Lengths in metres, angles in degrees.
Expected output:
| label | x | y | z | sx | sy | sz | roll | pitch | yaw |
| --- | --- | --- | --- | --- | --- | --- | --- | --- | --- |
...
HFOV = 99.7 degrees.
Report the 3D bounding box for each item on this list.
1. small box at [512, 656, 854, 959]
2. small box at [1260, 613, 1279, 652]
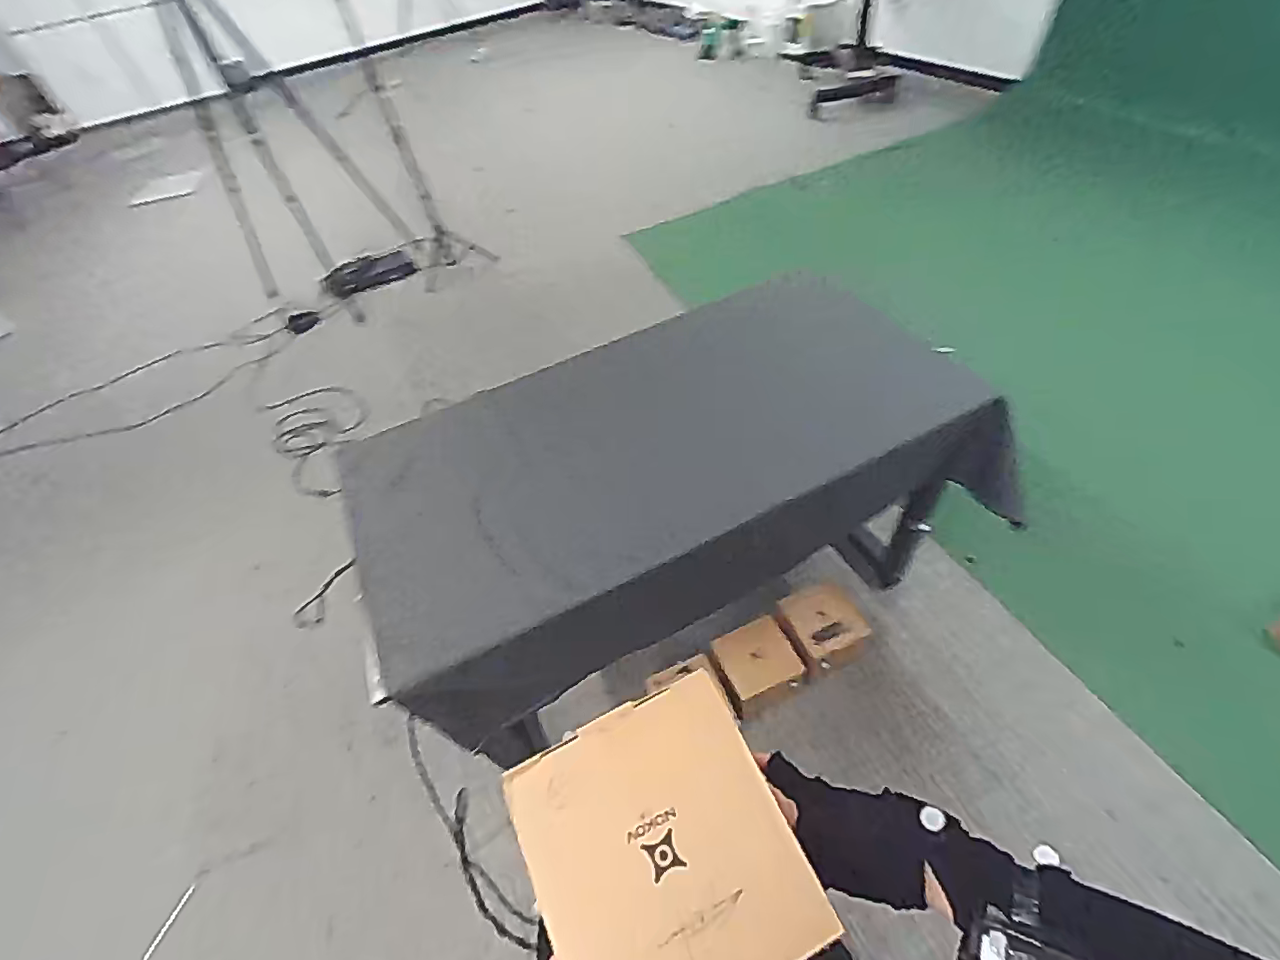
| label | x | y | z | sx | sy | sz | roll | pitch | yaw |
| --- | --- | --- | --- | --- | --- | --- | --- | --- | --- |
| small box | 0.021 | 0.265 | 0.413 | 0.168 | 0.176 | 0.179 | -23 | 63 | -10 |
| small box | 1.662 | 0.361 | 1.275 | 0.179 | 0.176 | 0.168 | -17 | 49 | -3 |
